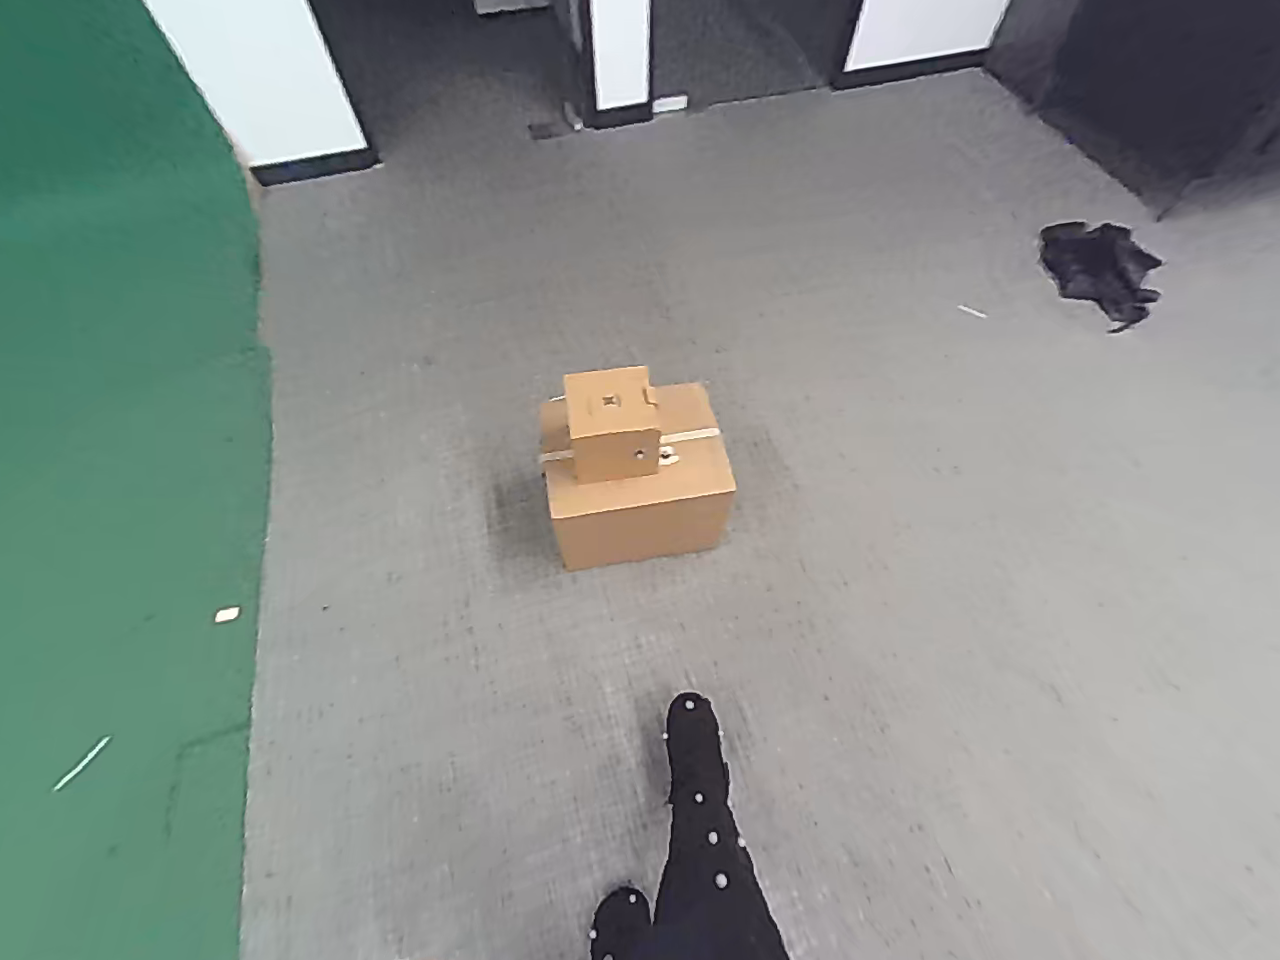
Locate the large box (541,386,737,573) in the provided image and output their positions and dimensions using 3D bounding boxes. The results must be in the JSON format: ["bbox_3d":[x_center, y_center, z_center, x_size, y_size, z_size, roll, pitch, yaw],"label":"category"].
[{"bbox_3d":[-0.017,0.006,1.344,0.408,0.320,0.320,-8,61,-7],"label":"large box"}]

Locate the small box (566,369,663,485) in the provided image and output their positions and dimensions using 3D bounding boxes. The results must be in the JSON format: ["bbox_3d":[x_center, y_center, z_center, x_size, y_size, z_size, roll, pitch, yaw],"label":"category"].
[{"bbox_3d":[-0.054,-0.106,1.128,0.179,0.176,0.168,-8,58,-4],"label":"small box"}]
